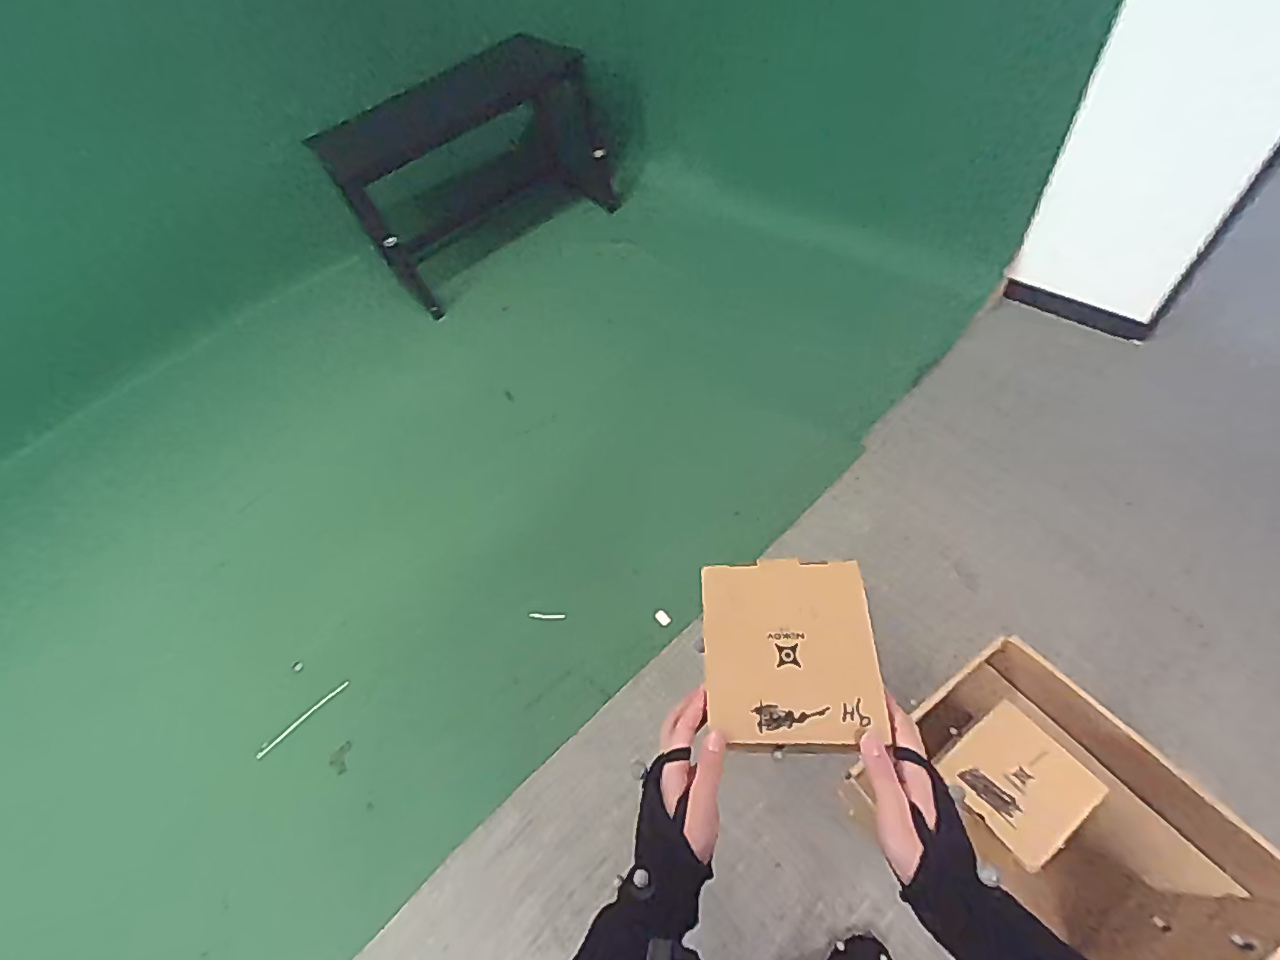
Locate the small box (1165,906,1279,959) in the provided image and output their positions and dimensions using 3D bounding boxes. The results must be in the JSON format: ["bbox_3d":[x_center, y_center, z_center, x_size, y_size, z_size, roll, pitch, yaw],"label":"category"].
[{"bbox_3d":[0.711,0.593,0.573,0.179,0.176,0.168,-31,55,-9],"label":"small box"}]

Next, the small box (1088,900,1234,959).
[{"bbox_3d":[0.745,0.686,0.703,0.179,0.176,0.168,-31,55,-8],"label":"small box"}]

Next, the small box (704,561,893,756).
[{"bbox_3d":[0.155,0.201,0.594,0.168,0.176,0.179,-3,62,8],"label":"small box"}]
